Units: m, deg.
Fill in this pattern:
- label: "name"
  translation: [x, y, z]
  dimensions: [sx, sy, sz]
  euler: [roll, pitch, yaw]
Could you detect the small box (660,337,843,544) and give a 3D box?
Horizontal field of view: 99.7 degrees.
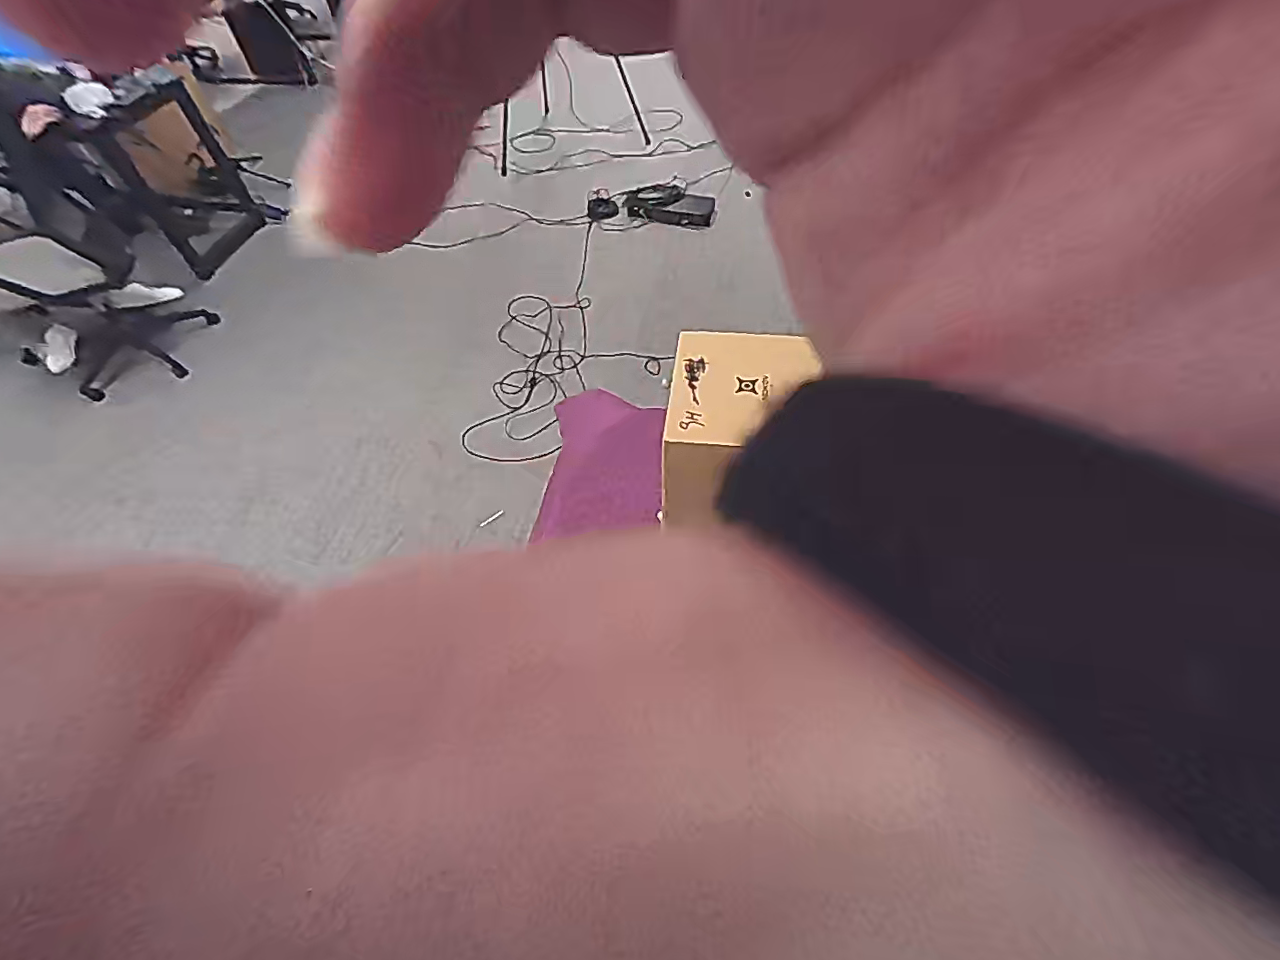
- label: "small box"
  translation: [0.120, -0.040, 0.626]
  dimensions: [0.179, 0.176, 0.168]
  euler: [6, 54, 7]
